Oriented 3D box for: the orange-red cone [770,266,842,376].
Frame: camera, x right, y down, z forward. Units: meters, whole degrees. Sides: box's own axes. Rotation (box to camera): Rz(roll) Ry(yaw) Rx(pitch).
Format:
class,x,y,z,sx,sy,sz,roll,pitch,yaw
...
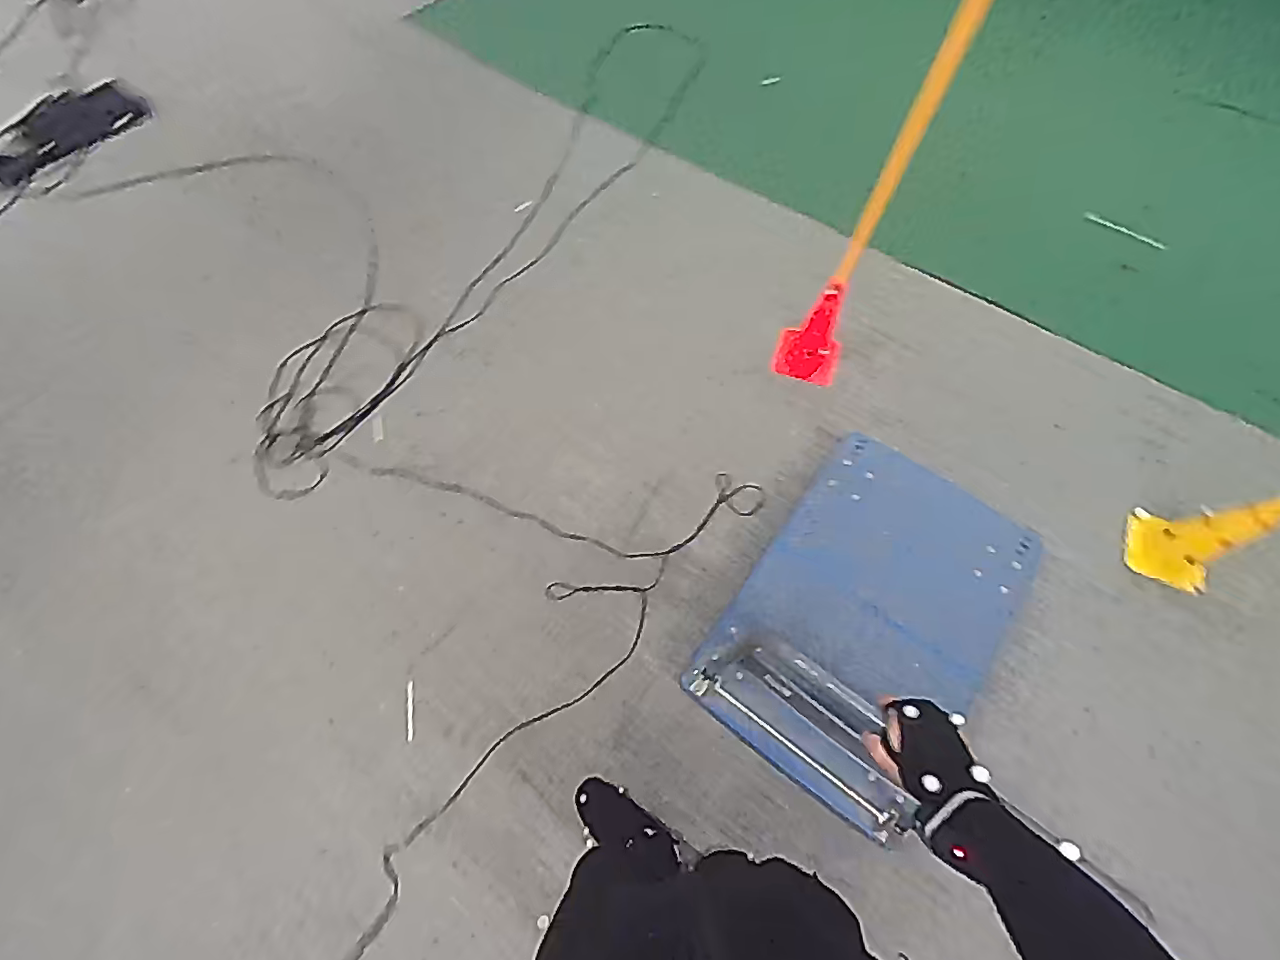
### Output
class,x,y,z,sx,sy,sz,roll,pitch,yaw
orange-red cone,0.559,-0.524,1.702,0.199,0.360,0.198,19,67,9
